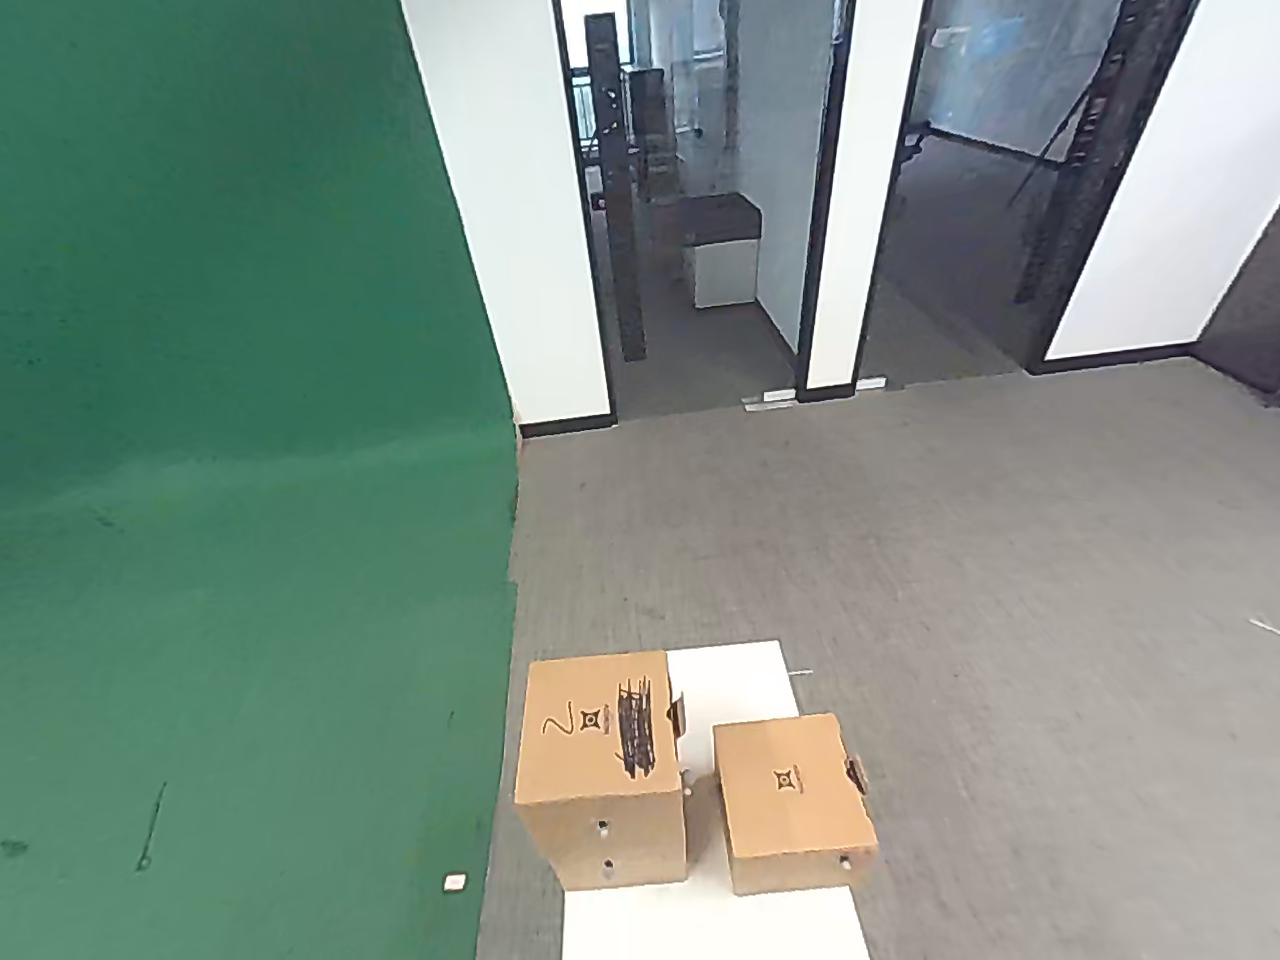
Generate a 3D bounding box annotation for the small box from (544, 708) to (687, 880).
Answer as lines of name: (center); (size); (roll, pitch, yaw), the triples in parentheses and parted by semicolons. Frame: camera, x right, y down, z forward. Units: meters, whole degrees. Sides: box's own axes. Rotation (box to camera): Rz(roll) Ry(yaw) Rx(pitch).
small box: (-0.030, 0.452, 0.777); (0.179, 0.176, 0.168); (-5, 41, 0)
